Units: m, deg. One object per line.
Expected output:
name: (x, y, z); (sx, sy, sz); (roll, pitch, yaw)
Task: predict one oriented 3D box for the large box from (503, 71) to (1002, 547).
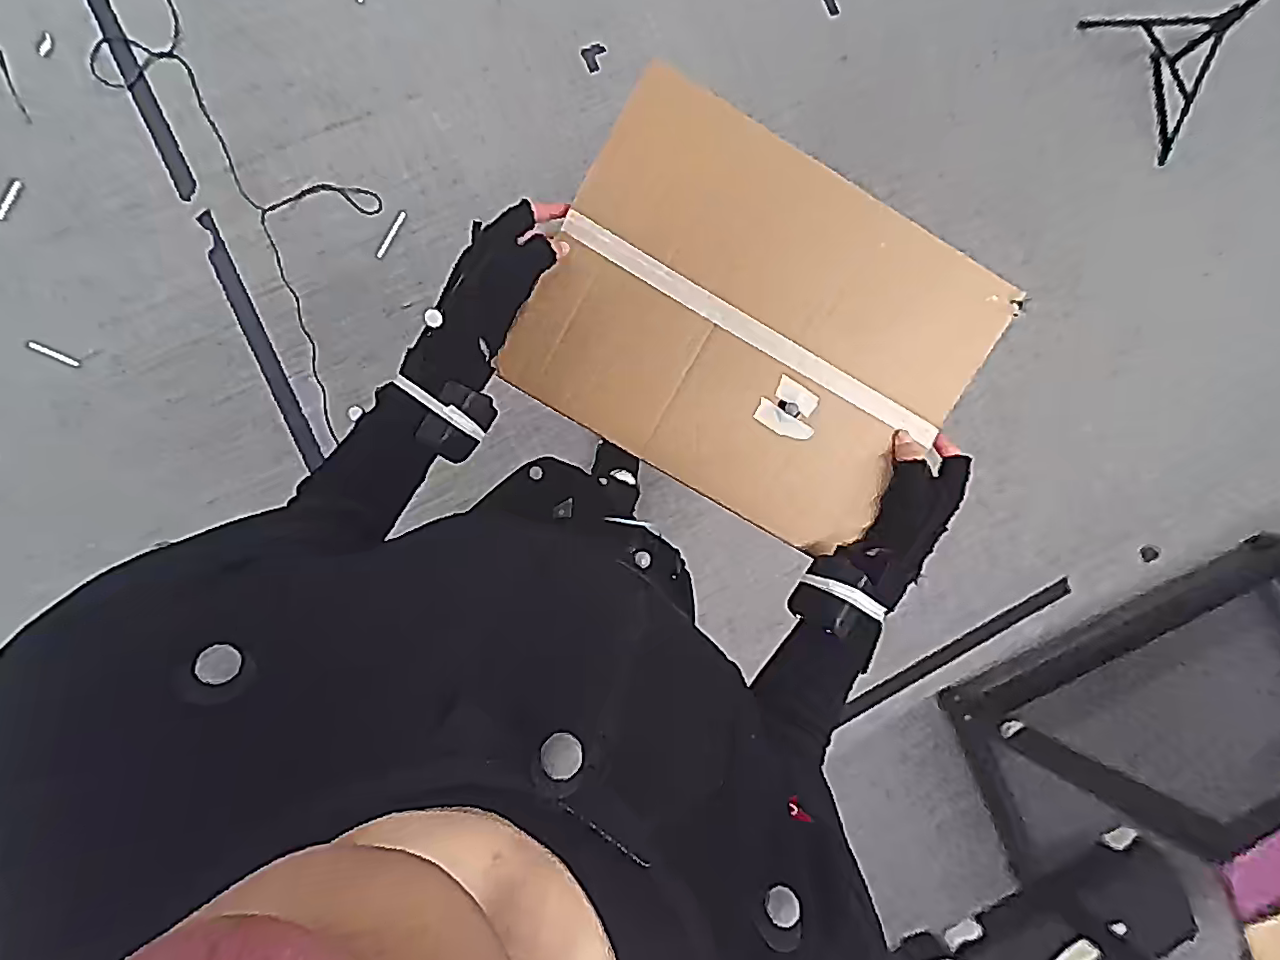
large box: (0.105, -0.174, 0.674); (0.408, 0.320, 0.320); (30, 98, -5)
